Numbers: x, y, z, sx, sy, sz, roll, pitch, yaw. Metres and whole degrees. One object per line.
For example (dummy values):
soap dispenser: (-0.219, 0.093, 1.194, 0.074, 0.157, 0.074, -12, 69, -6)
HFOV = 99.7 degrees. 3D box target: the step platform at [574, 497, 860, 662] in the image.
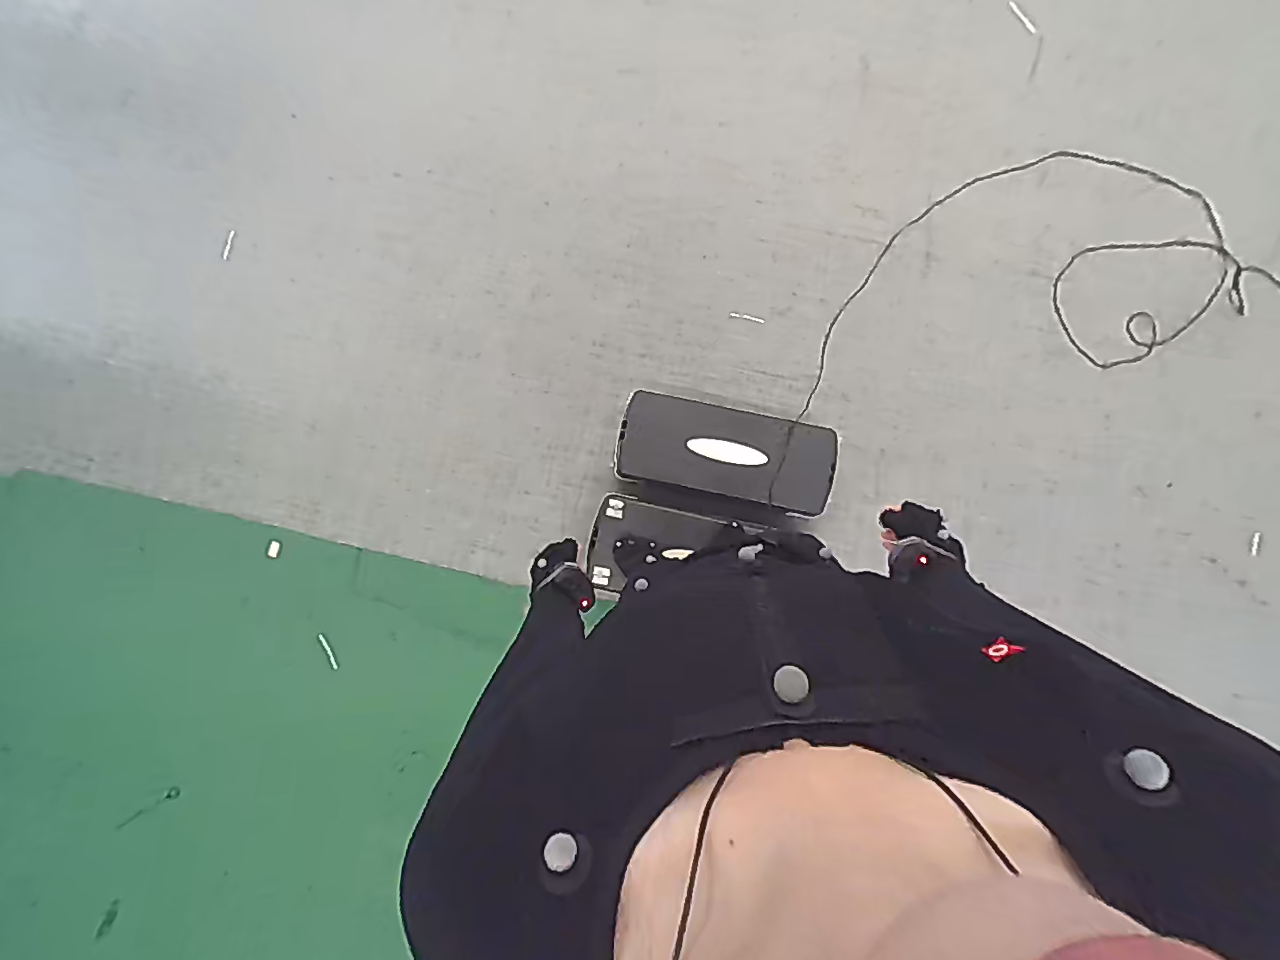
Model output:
step platform: (0.186, 0.244, 1.391, 0.684, 0.204, 0.286, 12, 86, 1)
